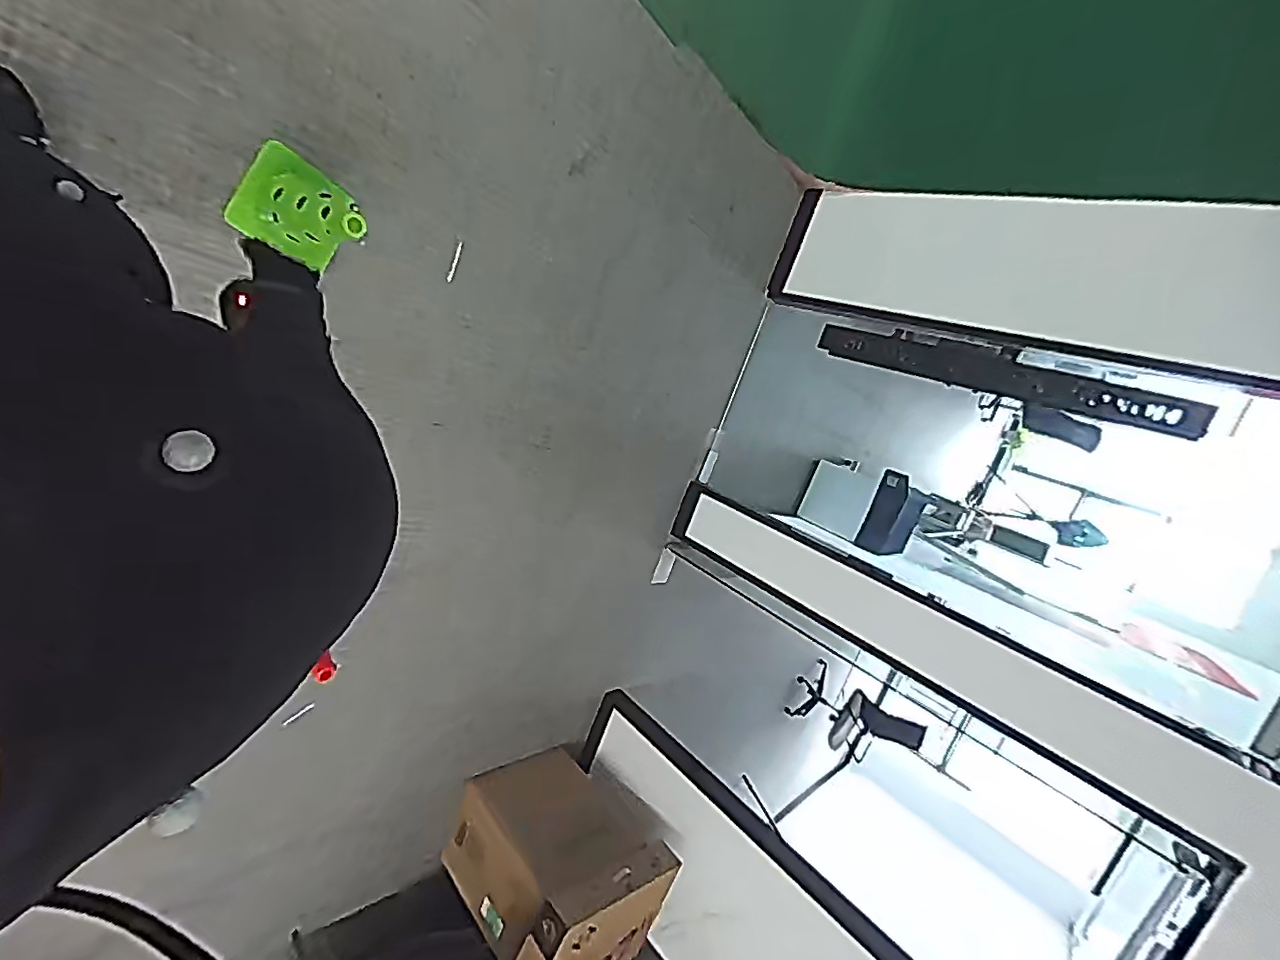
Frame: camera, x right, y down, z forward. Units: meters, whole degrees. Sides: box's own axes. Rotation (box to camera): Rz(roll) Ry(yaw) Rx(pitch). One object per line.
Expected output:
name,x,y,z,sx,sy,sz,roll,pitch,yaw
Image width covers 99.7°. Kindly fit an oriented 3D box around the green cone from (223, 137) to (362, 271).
green cone,-0.631,-0.523,1.057,0.200,0.368,0.202,30,89,-51
